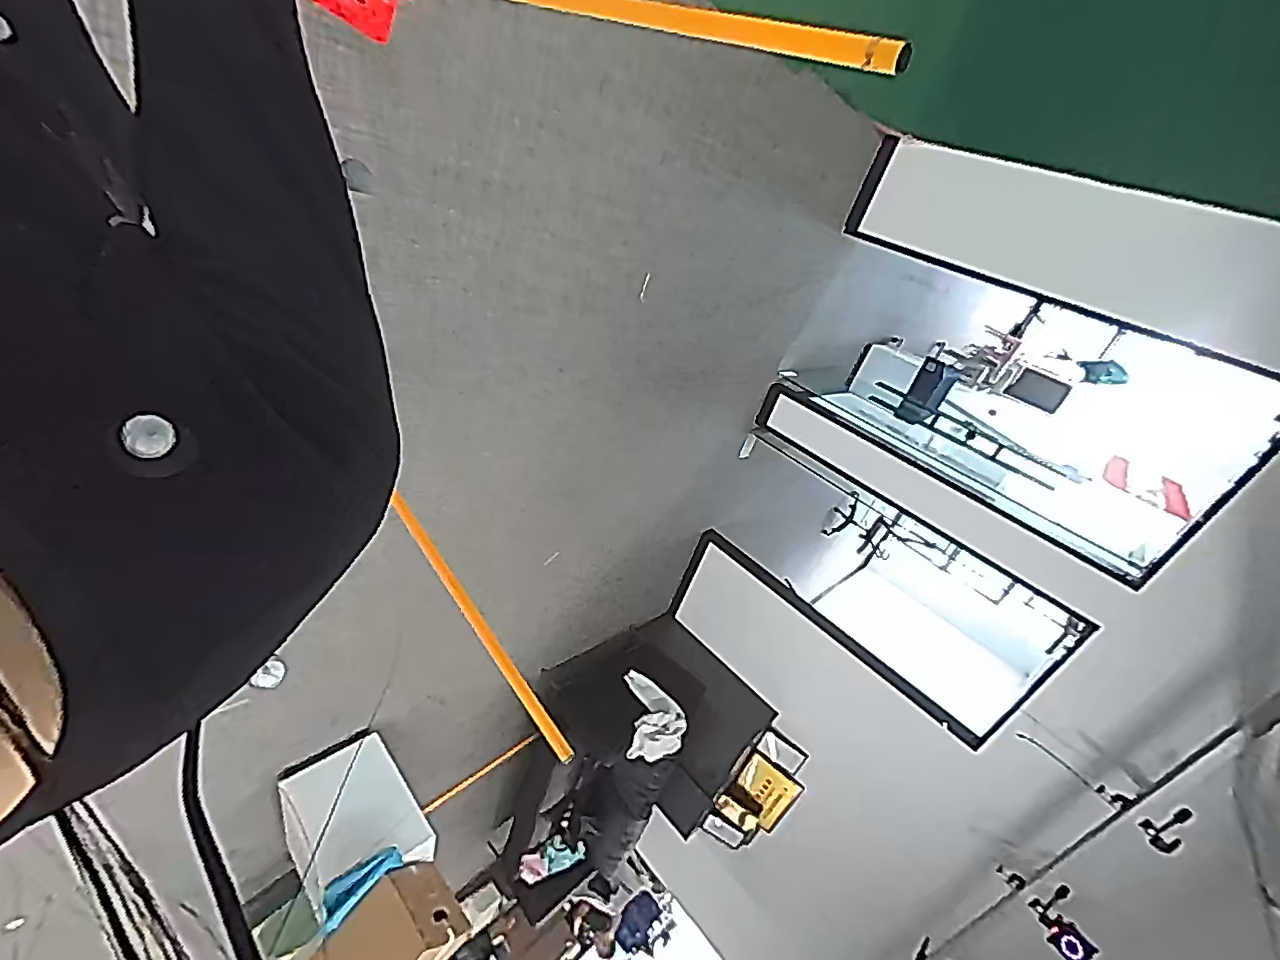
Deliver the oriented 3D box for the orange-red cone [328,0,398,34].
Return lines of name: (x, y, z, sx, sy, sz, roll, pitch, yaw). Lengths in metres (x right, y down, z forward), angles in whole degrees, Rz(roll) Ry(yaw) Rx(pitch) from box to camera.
orange-red cone: (-0.459, -0.953, 0.990, 0.198, 0.360, 0.199, 2, 122, -53)
